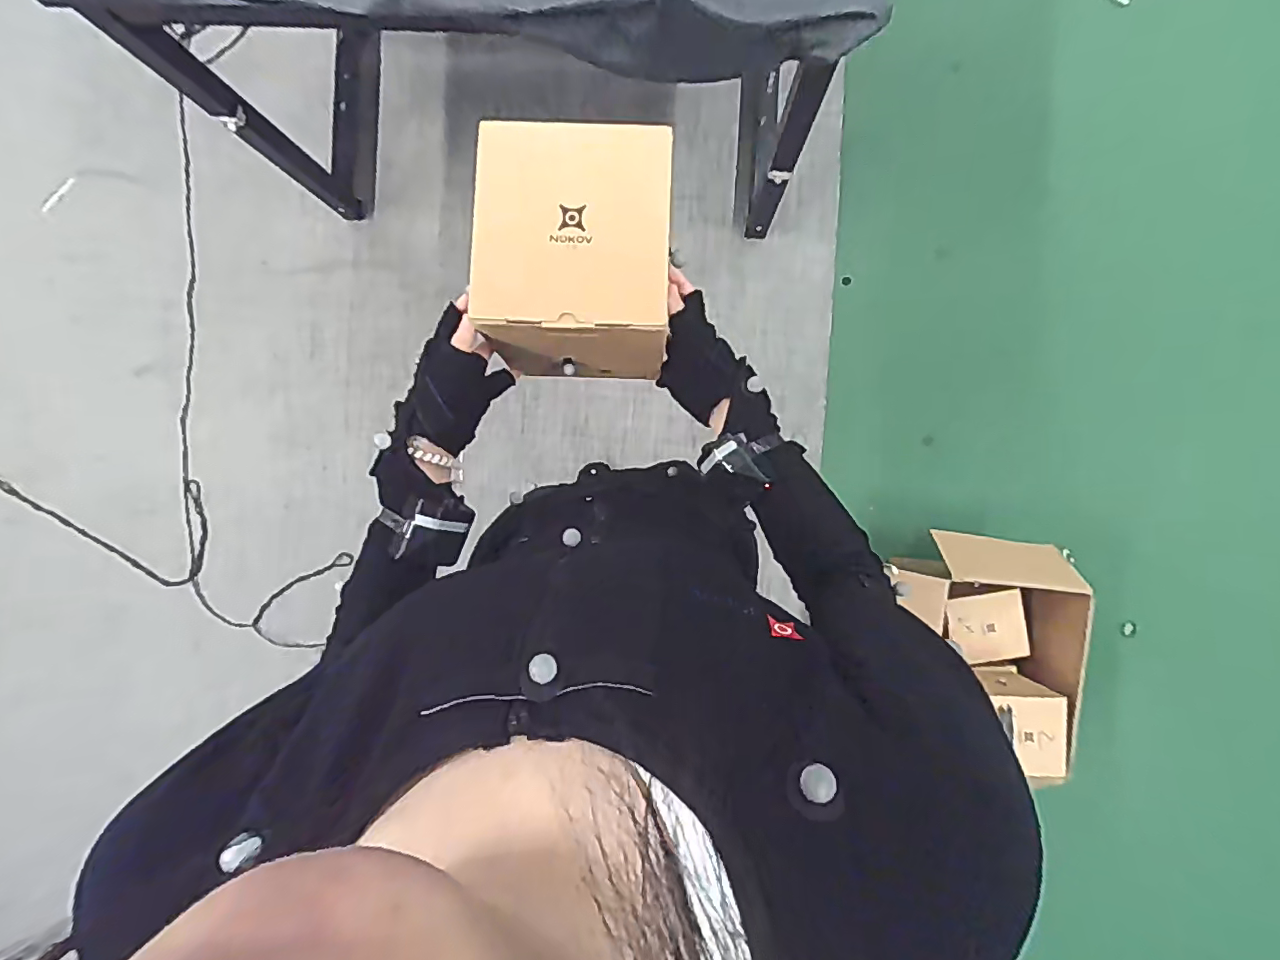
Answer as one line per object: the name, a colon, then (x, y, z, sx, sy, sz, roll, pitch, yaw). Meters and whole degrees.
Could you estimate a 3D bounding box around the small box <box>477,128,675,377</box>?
small box: (-0.056, -0.213, 0.546, 0.168, 0.176, 0.179, 2, 88, 0)
